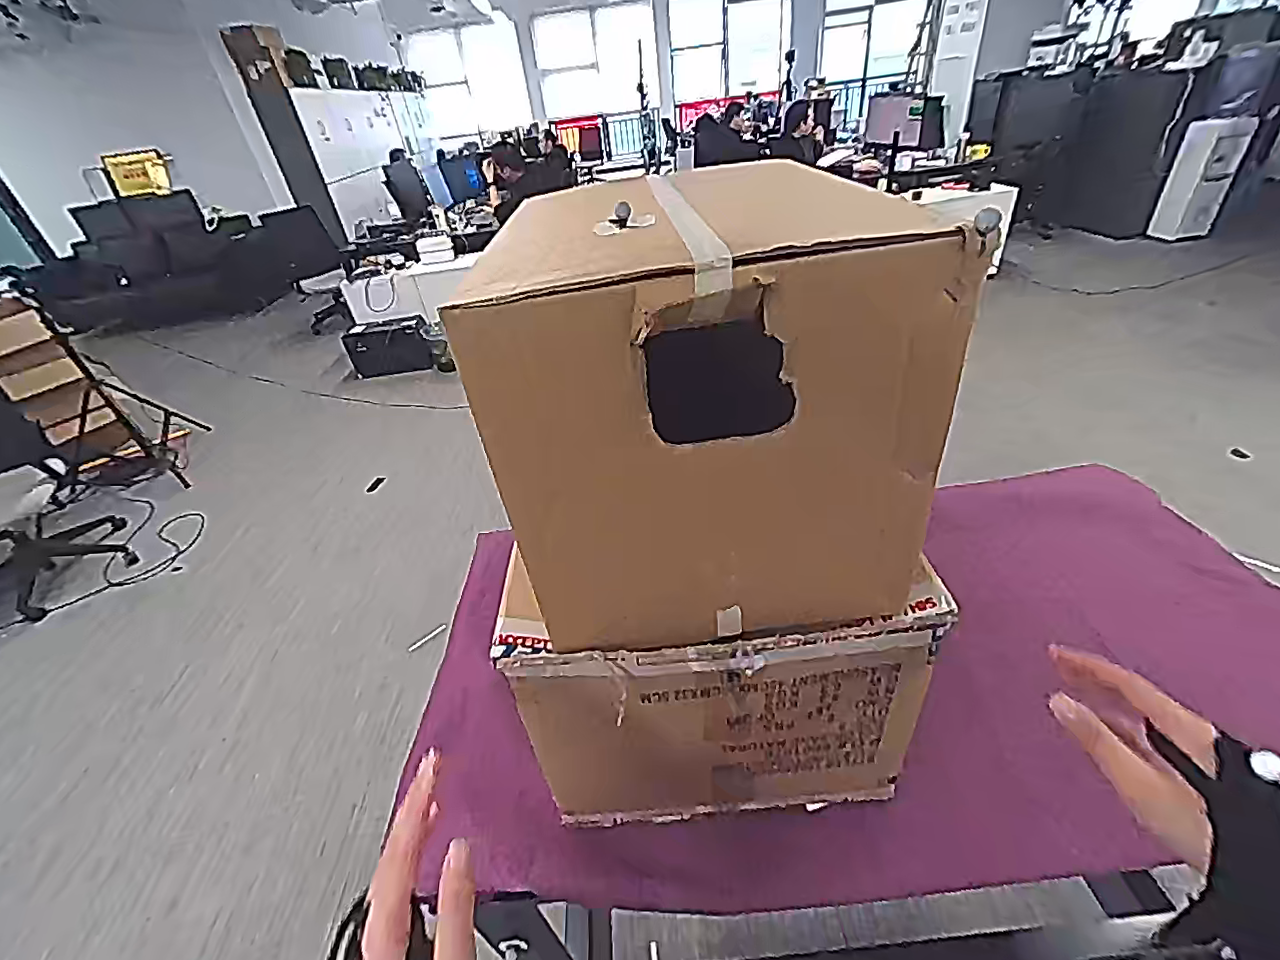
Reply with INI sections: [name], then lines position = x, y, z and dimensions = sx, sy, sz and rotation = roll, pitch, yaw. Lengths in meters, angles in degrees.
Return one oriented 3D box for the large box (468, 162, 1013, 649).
[large box]
position = 0.056, -0.104, 0.542
dimensions = 0.320, 0.320, 0.408
rotation = -9, 36, 1
